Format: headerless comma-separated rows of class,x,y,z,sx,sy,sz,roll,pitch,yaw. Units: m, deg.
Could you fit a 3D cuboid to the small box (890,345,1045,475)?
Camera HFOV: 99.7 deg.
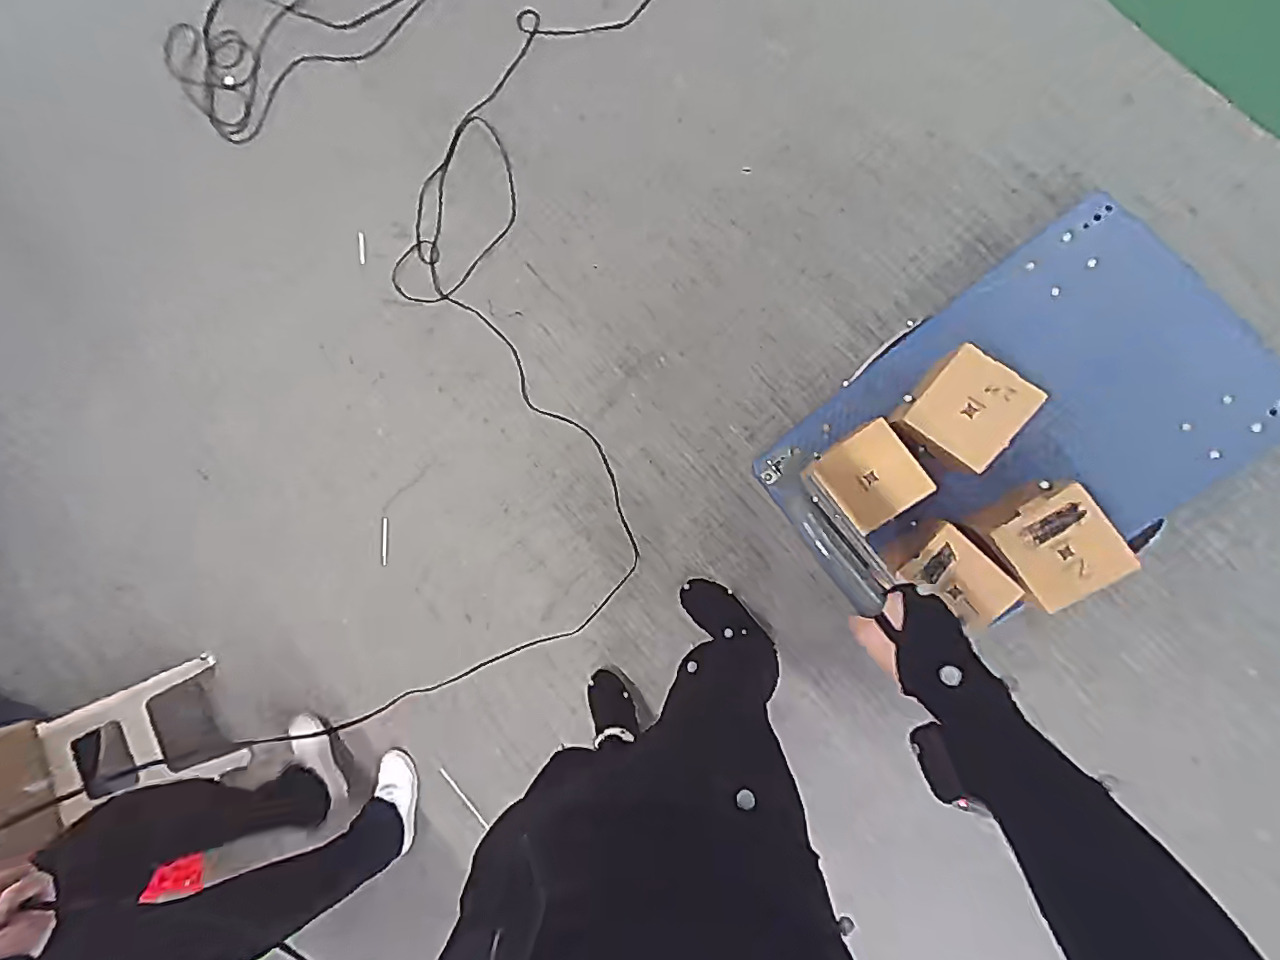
small box,0.609,-0.127,1.038,0.168,0.176,0.179,39,99,9
